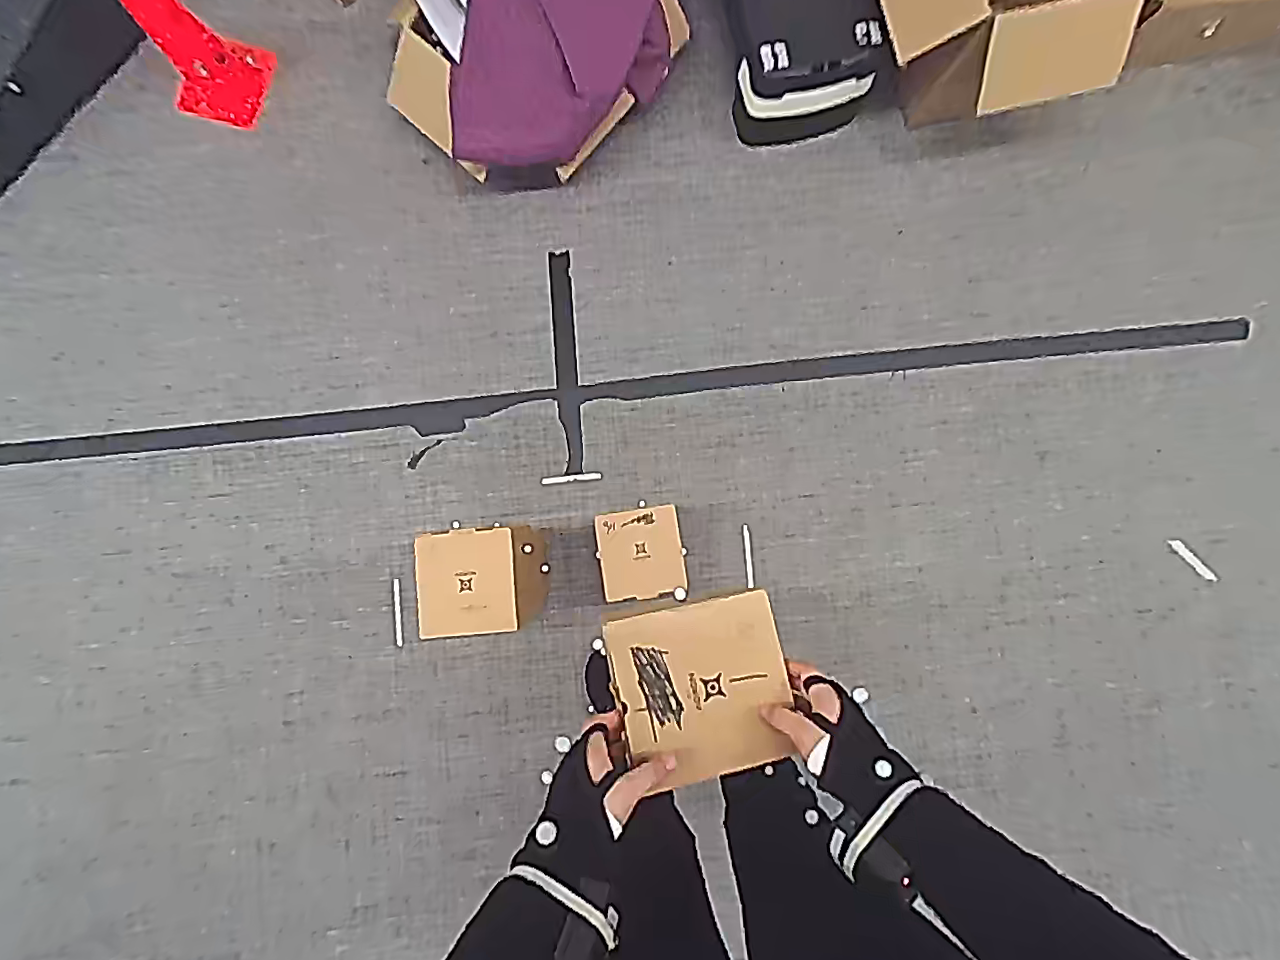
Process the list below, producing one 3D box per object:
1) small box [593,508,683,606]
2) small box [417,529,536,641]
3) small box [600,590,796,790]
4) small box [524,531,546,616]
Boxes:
[{"bbox_3d":[-0.003,0.158,1.156,0.168,0.176,0.179,-8,87,-1],"label":"small box"},{"bbox_3d":[-0.290,0.182,0.987,0.168,0.176,0.179,-5,88,0],"label":"small box"},{"bbox_3d":[0.053,0.227,0.630,0.179,0.176,0.168,-11,80,-8],"label":"small box"},{"bbox_3d":[-0.298,0.197,1.149,0.179,0.176,0.168,-4,86,0],"label":"small box"}]
